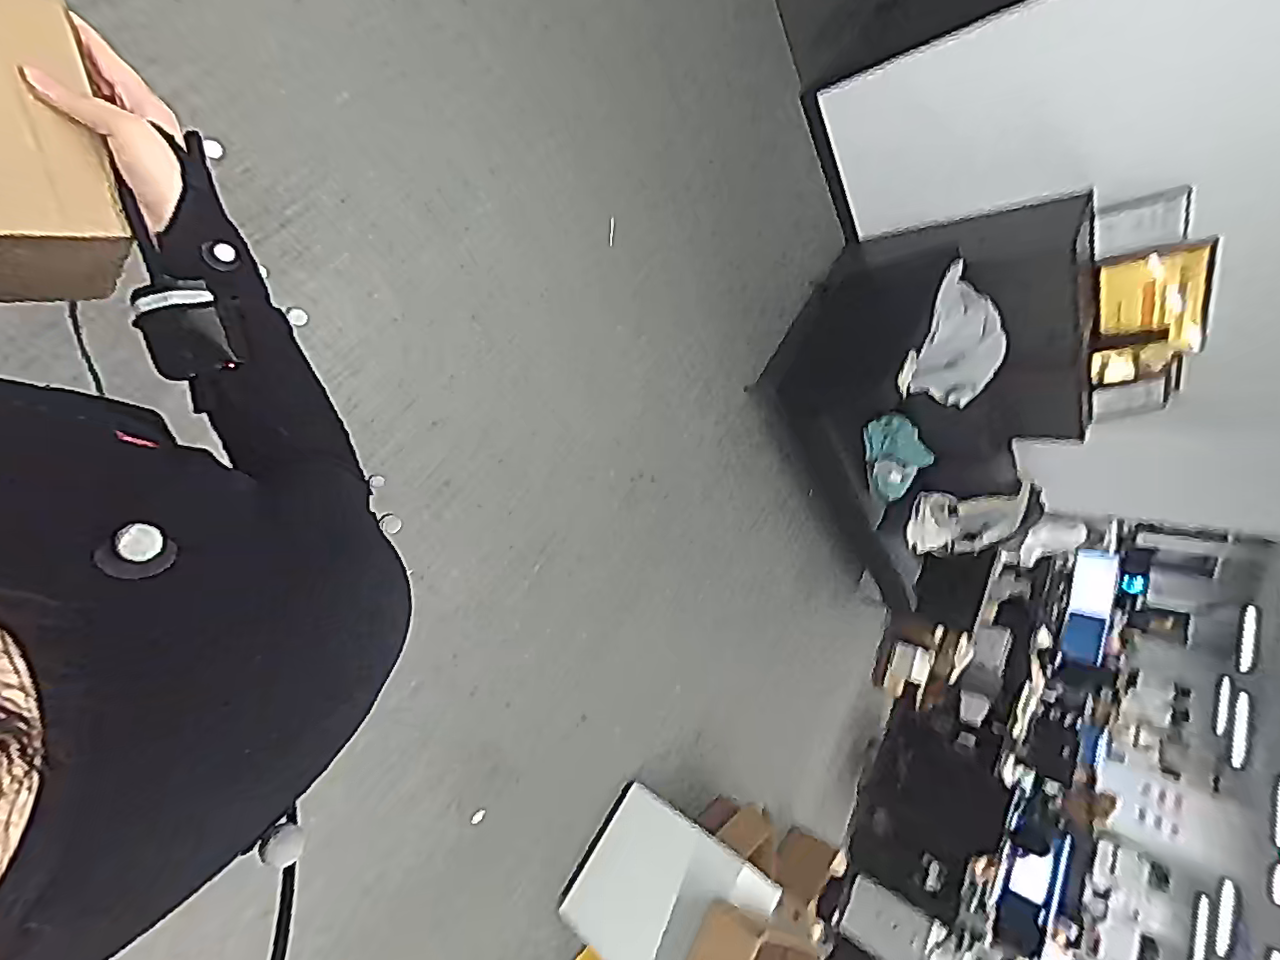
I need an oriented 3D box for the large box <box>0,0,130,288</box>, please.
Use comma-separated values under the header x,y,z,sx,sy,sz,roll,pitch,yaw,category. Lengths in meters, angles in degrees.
x,y,z,sx,sy,sz,roll,pitch,yaw,category
-0.633,-0.291,0.318,0.408,0.320,0.320,-22,112,-45,large box
